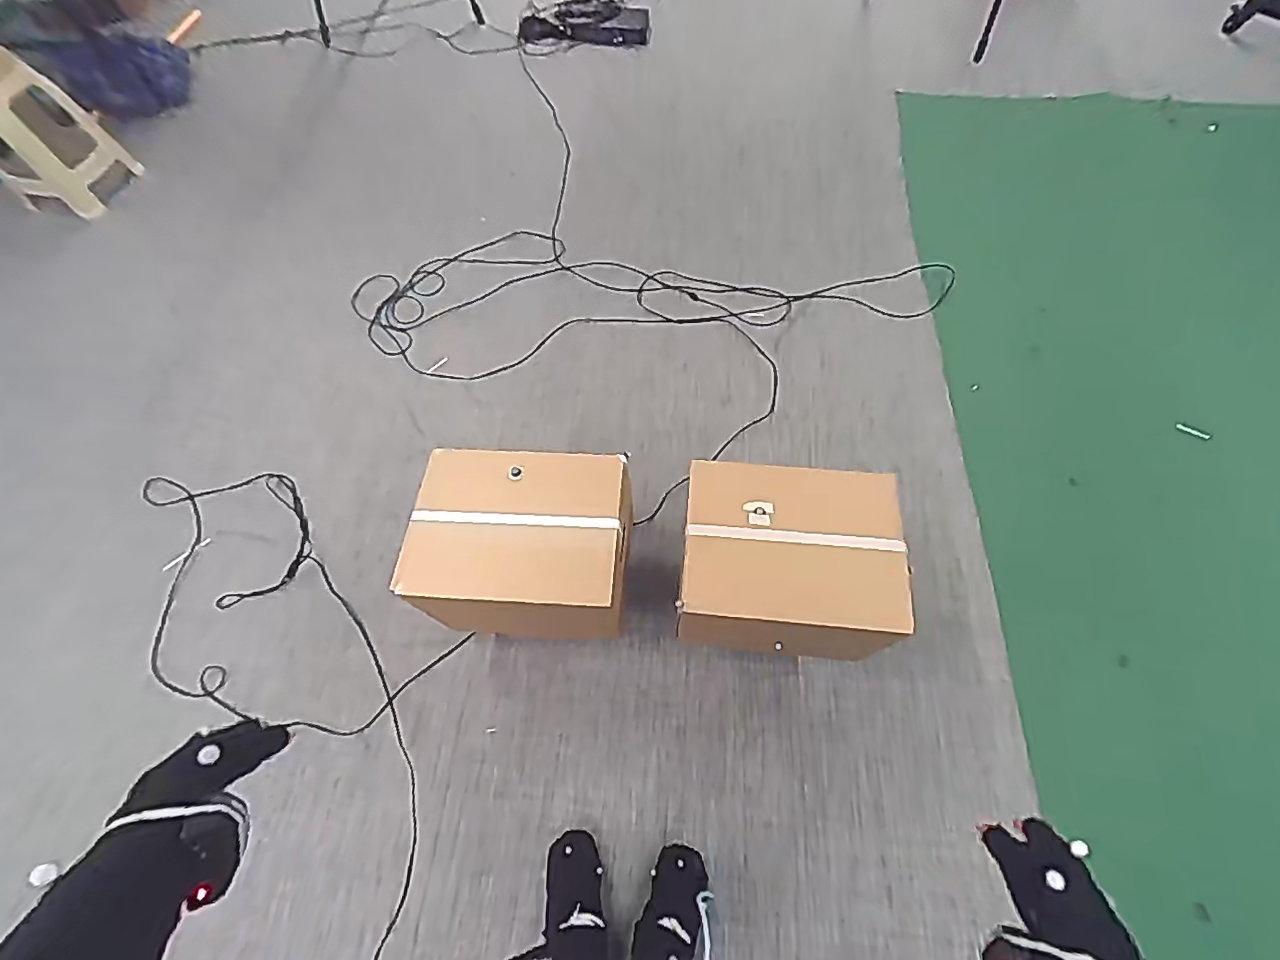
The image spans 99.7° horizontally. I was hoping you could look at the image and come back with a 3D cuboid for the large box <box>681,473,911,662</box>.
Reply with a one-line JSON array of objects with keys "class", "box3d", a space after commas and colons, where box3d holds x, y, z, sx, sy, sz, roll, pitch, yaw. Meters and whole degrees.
[{"class": "large box", "box3d": [0.301, 0.198, 1.158, 0.408, 0.320, 0.320, 4, 63, 5]}]
